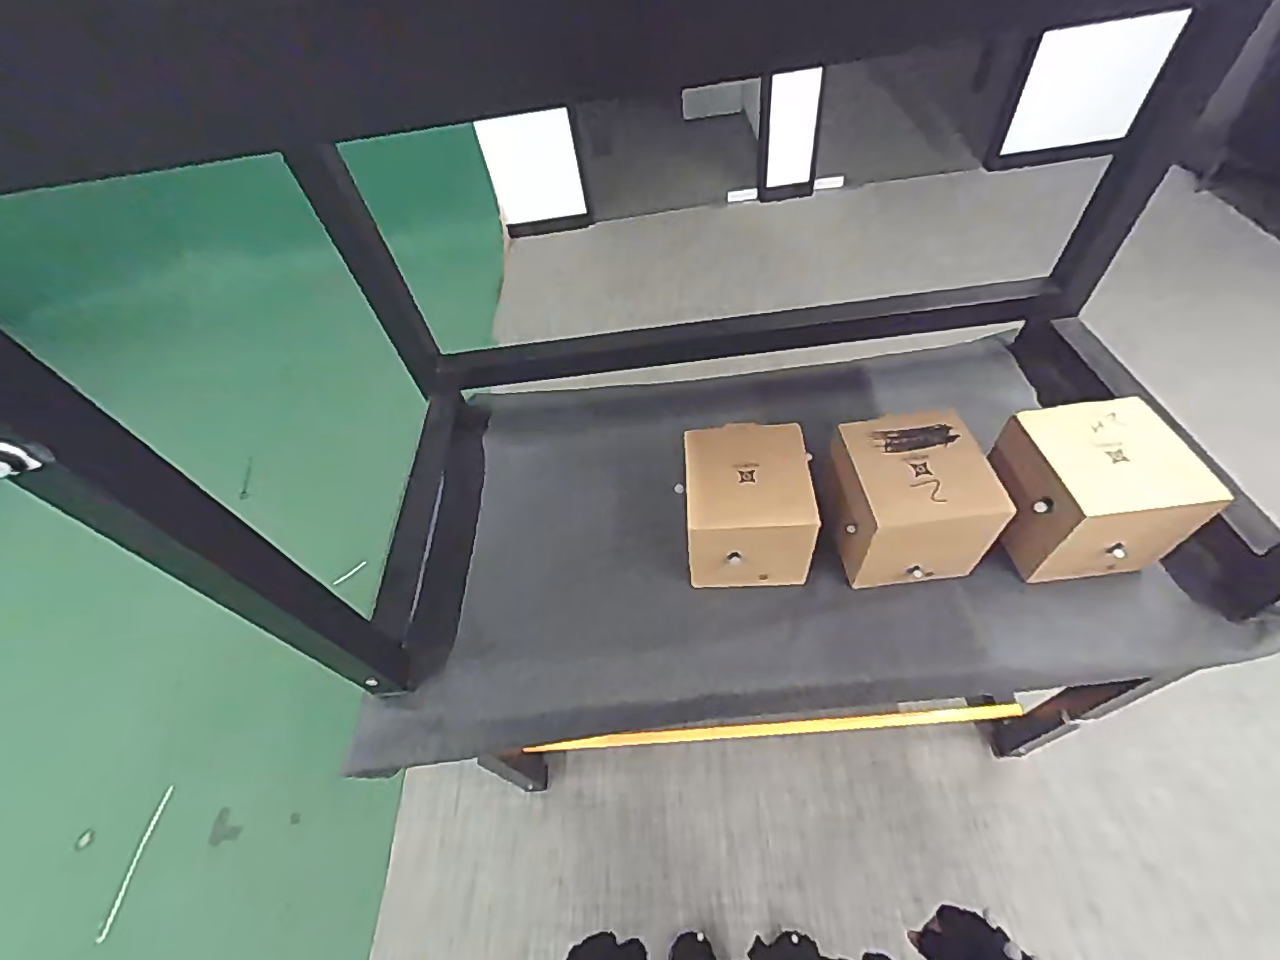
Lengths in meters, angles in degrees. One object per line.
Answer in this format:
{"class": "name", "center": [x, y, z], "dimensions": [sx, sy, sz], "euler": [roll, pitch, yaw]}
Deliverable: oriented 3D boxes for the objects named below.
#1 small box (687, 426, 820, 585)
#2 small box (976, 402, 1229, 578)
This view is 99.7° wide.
{"class": "small box", "center": [0.158, 0.045, 0.792], "dimensions": [0.168, 0.176, 0.179], "euler": [-3, 52, 6]}
{"class": "small box", "center": [0.602, 0.022, 0.737], "dimensions": [0.168, 0.176, 0.179], "euler": [-7, 51, 3]}
